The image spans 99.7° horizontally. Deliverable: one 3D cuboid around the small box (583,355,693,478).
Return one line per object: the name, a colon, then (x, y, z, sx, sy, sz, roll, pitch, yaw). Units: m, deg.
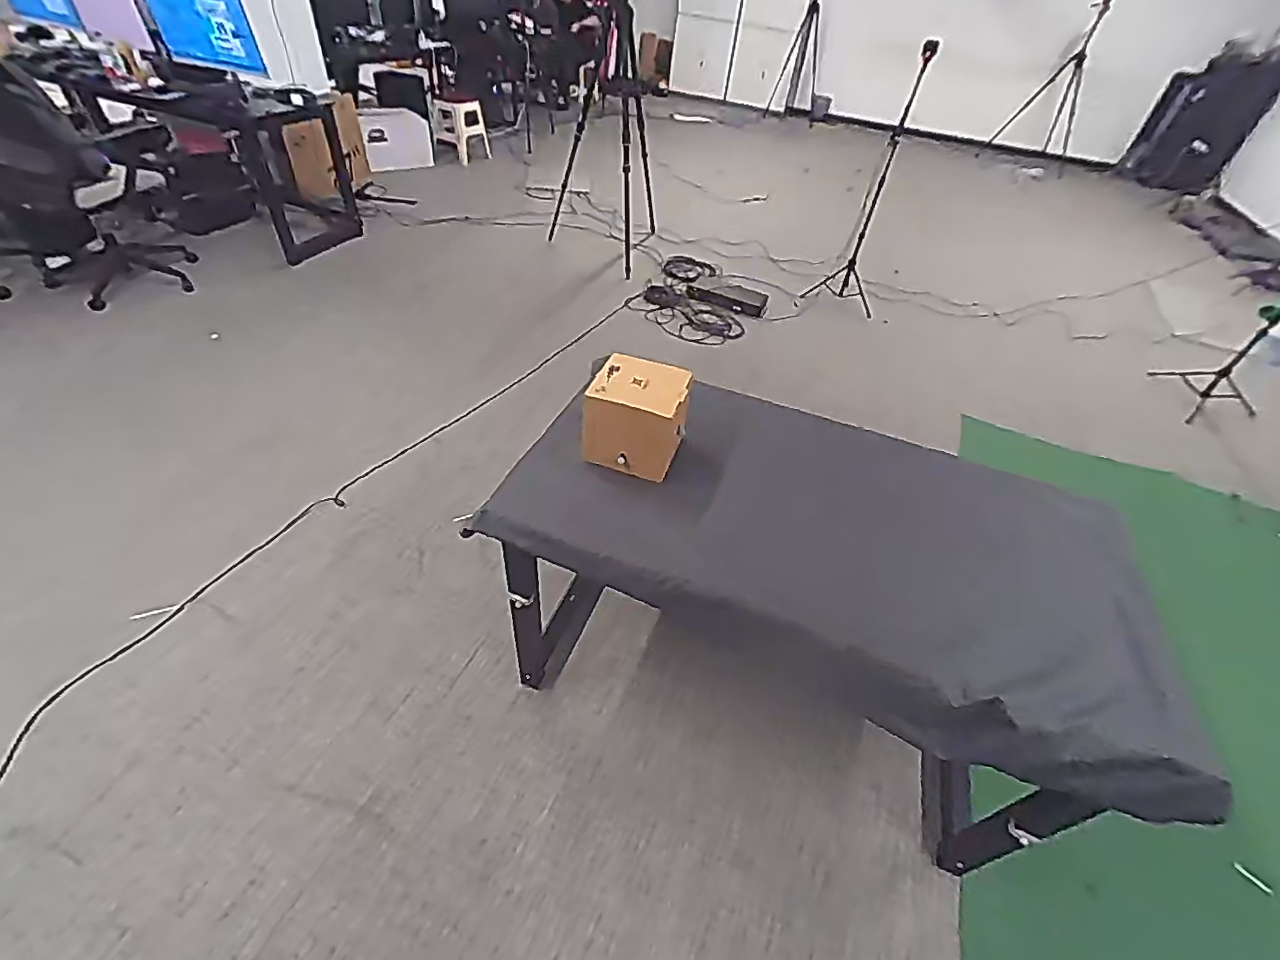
small box: (-0.007, -0.126, 1.111, 0.179, 0.176, 0.168, 17, 45, 9)
